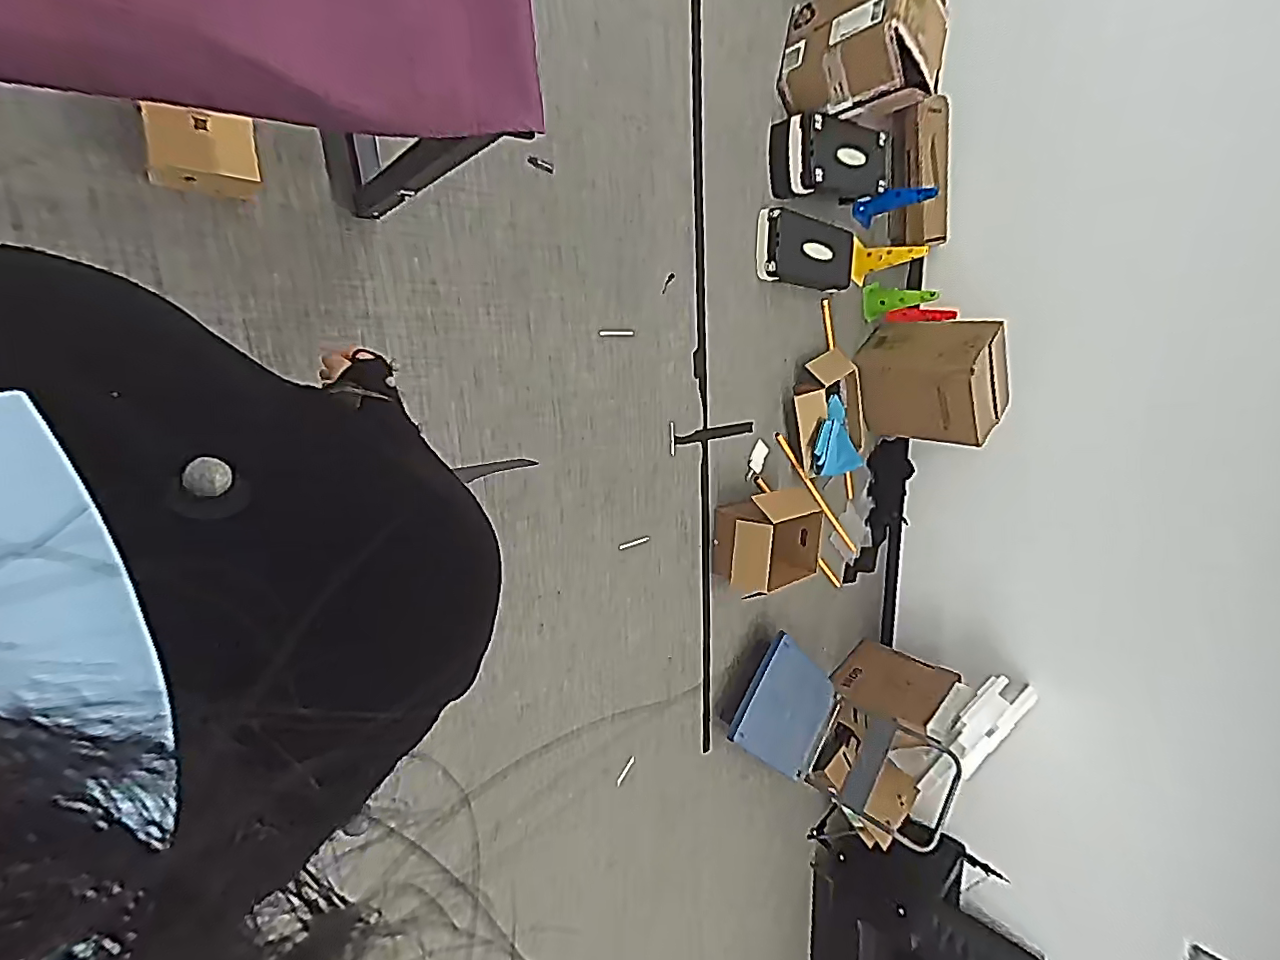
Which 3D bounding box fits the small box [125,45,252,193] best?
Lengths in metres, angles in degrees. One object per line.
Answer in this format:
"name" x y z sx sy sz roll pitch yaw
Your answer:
"small box" -0.870 -0.680 1.047 0.168 0.176 0.179 -10 105 -41
